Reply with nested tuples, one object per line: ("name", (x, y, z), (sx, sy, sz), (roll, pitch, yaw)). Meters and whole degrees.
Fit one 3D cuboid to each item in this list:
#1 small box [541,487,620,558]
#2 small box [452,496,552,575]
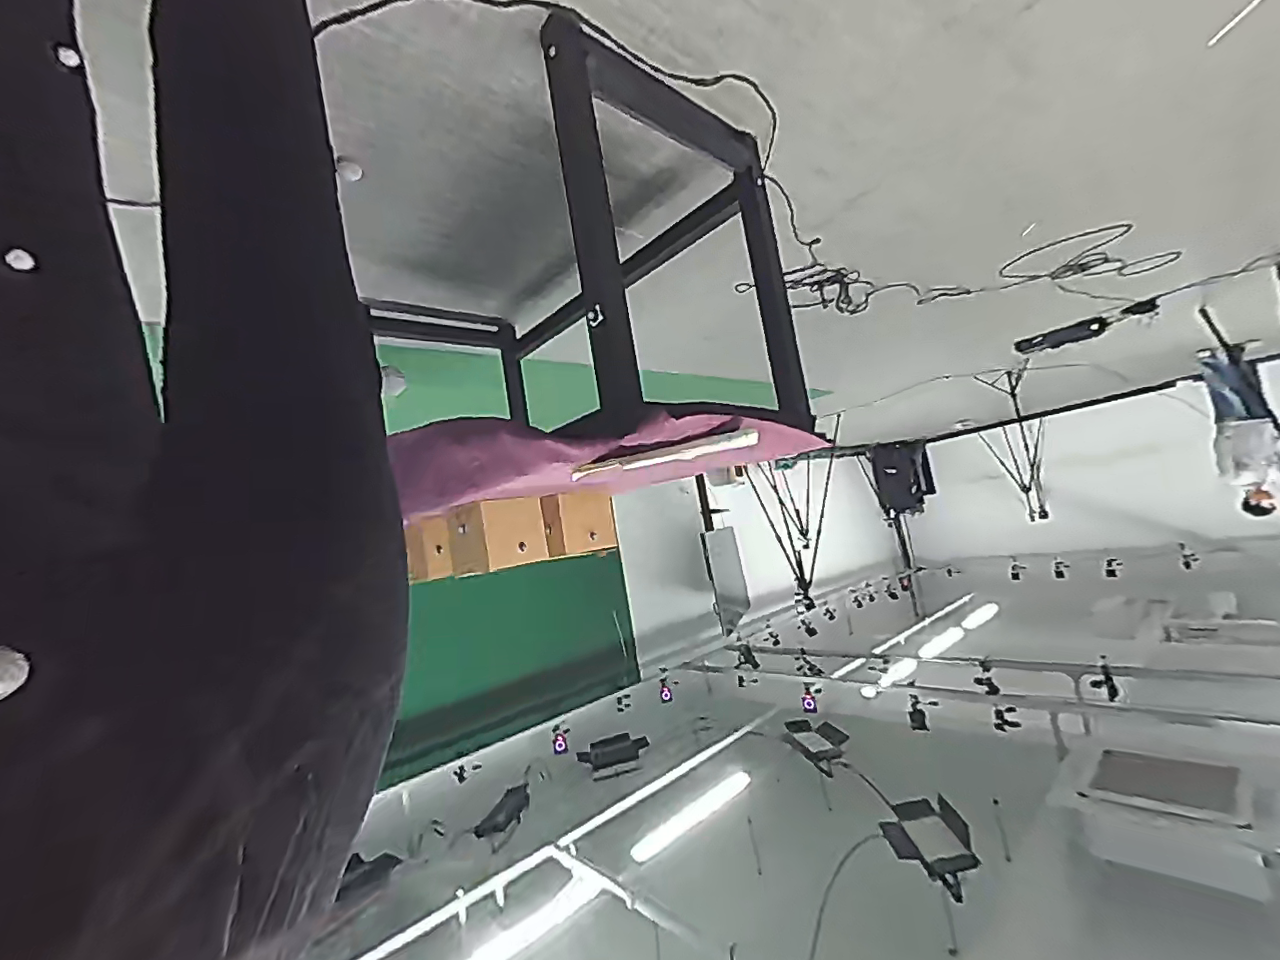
("small box", (-0.184, 0.120, 1.515), (0.179, 0.176, 0.168), (-5, 172, -43))
("small box", (-0.347, 0.136, 1.355), (0.168, 0.176, 0.179), (-16, 172, 41))
